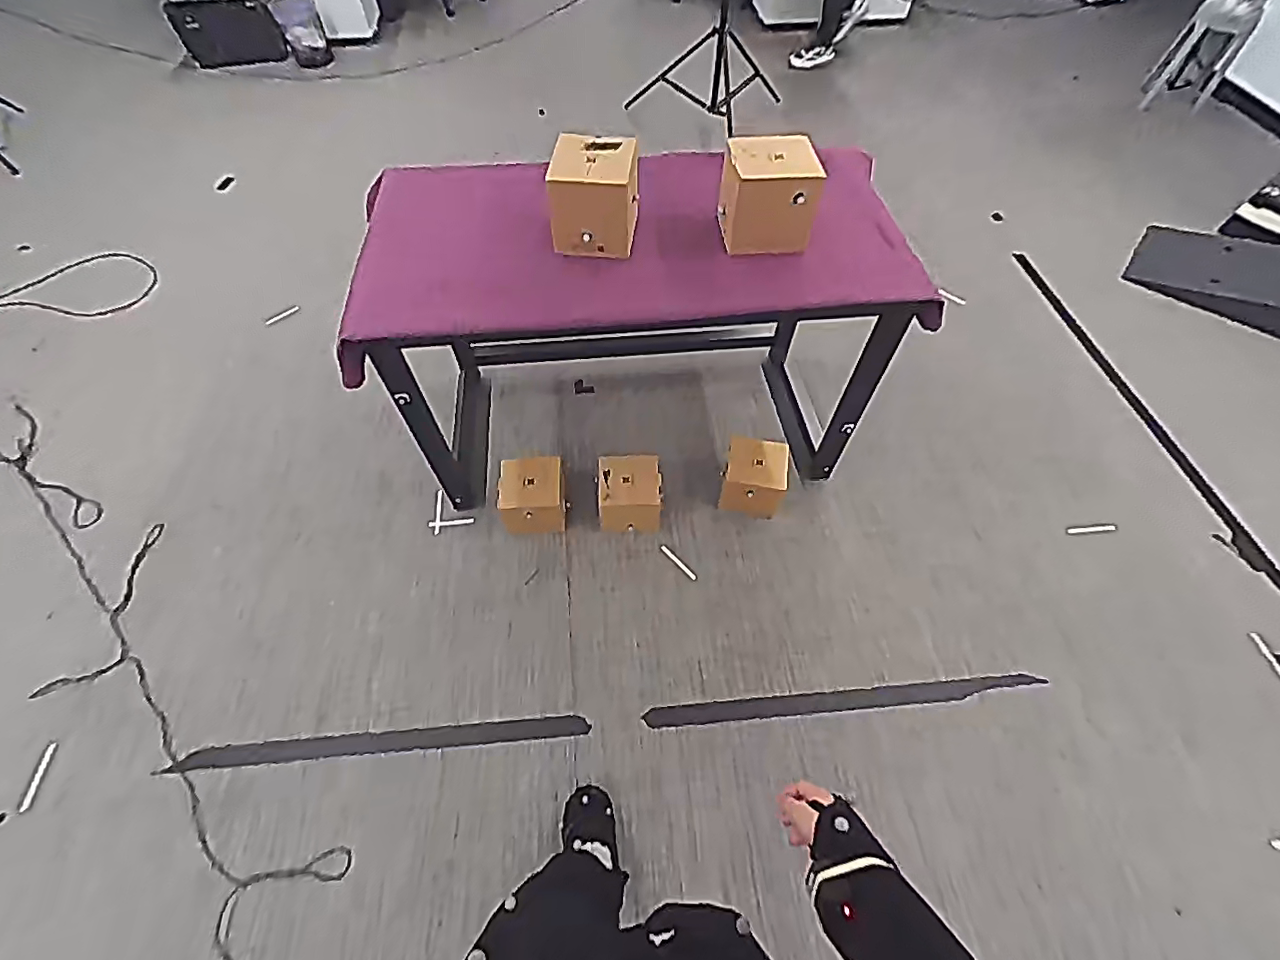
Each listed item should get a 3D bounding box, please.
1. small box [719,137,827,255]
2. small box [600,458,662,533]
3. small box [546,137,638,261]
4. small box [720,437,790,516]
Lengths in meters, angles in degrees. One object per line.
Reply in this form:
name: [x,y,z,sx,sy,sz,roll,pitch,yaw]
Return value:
small box: [0.275,-0.607,1.162,0.179,0.176,0.168,-4,57,-2]
small box: [-0.029,0.048,1.609,0.179,0.176,0.168,-1,58,-1]
small box: [-0.095,-0.600,1.158,0.168,0.176,0.179,5,58,3]
small box: [0.346,-0.006,1.645,0.179,0.176,0.168,9,59,7]
